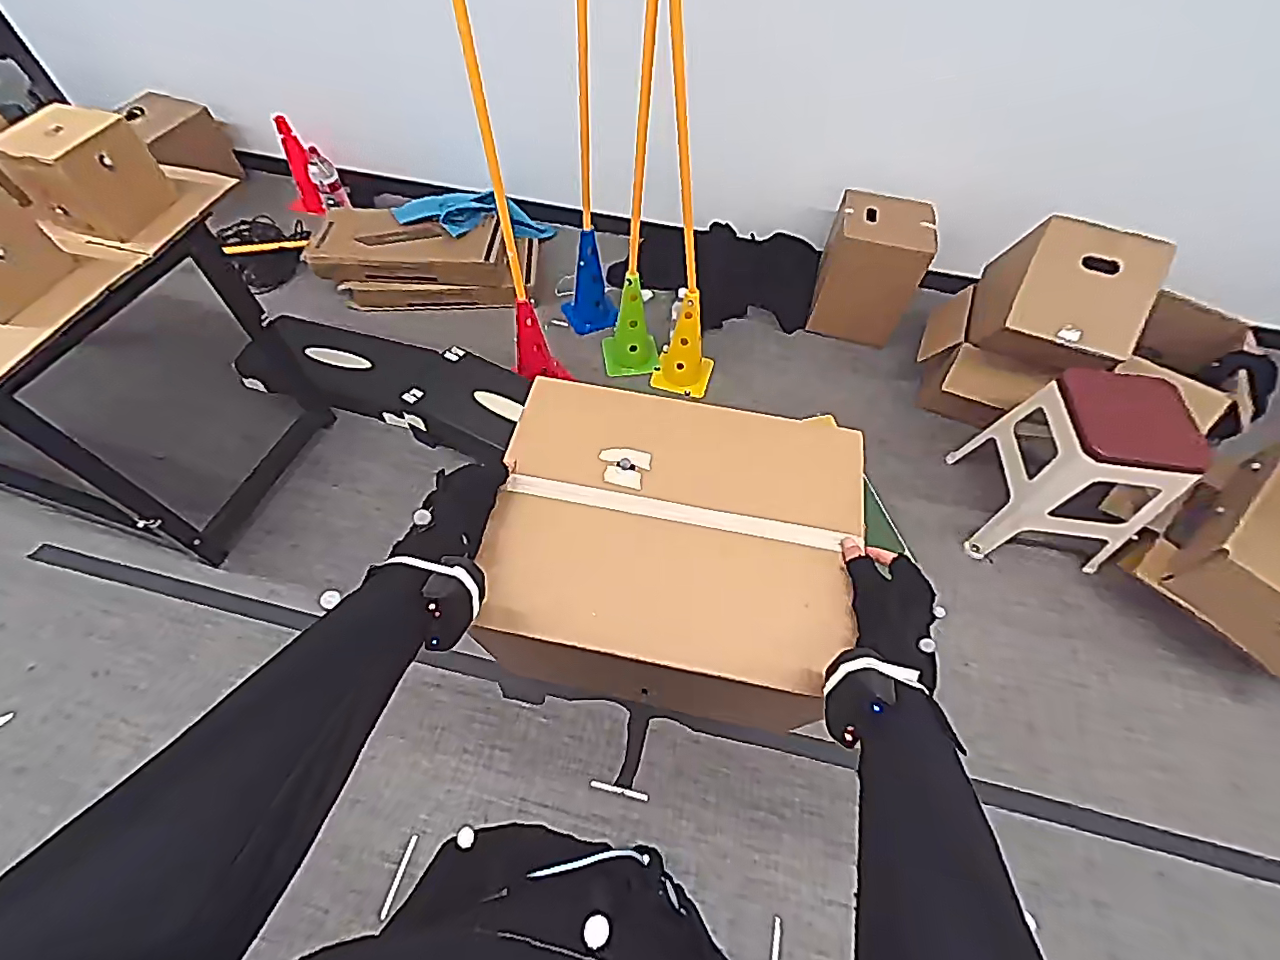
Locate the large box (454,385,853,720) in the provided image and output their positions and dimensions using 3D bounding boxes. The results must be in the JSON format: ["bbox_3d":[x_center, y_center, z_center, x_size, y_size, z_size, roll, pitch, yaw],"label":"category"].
[{"bbox_3d":[0.035,0.113,0.729,0.408,0.320,0.320,11,61,6],"label":"large box"}]
